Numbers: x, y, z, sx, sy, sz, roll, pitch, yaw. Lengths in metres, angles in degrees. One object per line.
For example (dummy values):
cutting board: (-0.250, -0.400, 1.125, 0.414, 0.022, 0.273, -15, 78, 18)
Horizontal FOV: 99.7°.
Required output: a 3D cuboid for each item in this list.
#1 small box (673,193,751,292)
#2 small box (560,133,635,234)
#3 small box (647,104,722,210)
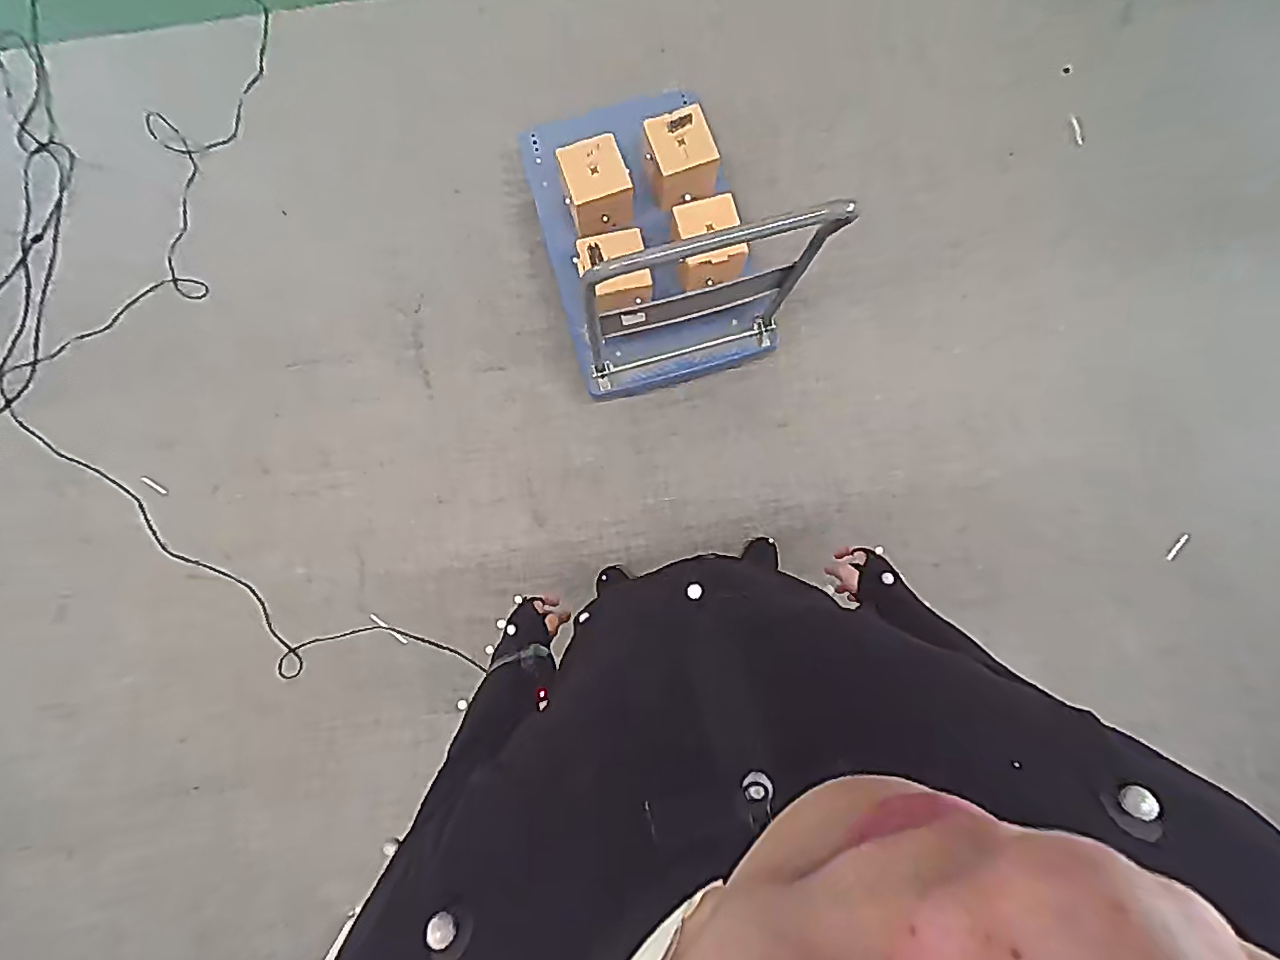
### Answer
small box: (0.195, -0.663, 1.522, 0.168, 0.176, 0.179, -15, 83, -2)
small box: (-0.116, -0.836, 1.547, 0.168, 0.176, 0.179, -19, 83, -3)
small box: (0.121, -0.921, 1.555, 0.168, 0.176, 0.179, -19, 84, -1)
